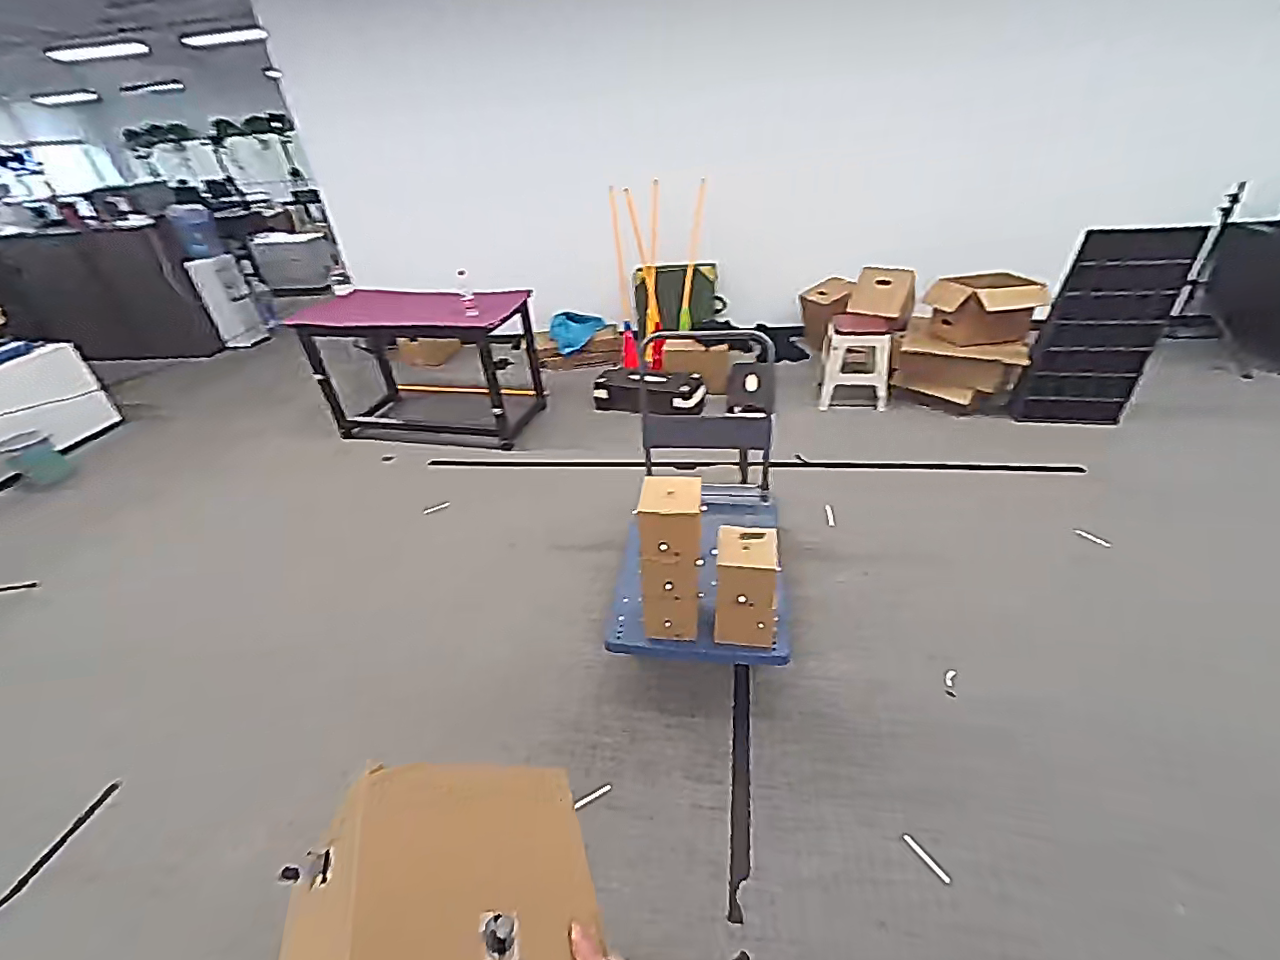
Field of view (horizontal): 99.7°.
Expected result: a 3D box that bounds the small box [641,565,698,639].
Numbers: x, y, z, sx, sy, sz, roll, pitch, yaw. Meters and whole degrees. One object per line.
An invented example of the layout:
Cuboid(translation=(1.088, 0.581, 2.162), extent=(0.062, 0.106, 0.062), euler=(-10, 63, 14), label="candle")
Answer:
Cuboid(translation=(0.098, 0.381, 1.710), extent=(0.168, 0.176, 0.179), euler=(2, 34, 8), label="small box")

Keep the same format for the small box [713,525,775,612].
Cuboid(translation=(0.304, 0.256, 1.577), extent=(0.168, 0.176, 0.179), euler=(3, 35, 11), label="small box")

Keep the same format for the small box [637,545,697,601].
Cuboid(translation=(0.087, 0.245, 1.618), extent=(0.168, 0.176, 0.179), euler=(1, 35, 6), label="small box")

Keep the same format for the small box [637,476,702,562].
Cuboid(translation=(0.087, 0.107, 1.529), extent=(0.168, 0.176, 0.179), euler=(2, 34, 8), label="small box")
